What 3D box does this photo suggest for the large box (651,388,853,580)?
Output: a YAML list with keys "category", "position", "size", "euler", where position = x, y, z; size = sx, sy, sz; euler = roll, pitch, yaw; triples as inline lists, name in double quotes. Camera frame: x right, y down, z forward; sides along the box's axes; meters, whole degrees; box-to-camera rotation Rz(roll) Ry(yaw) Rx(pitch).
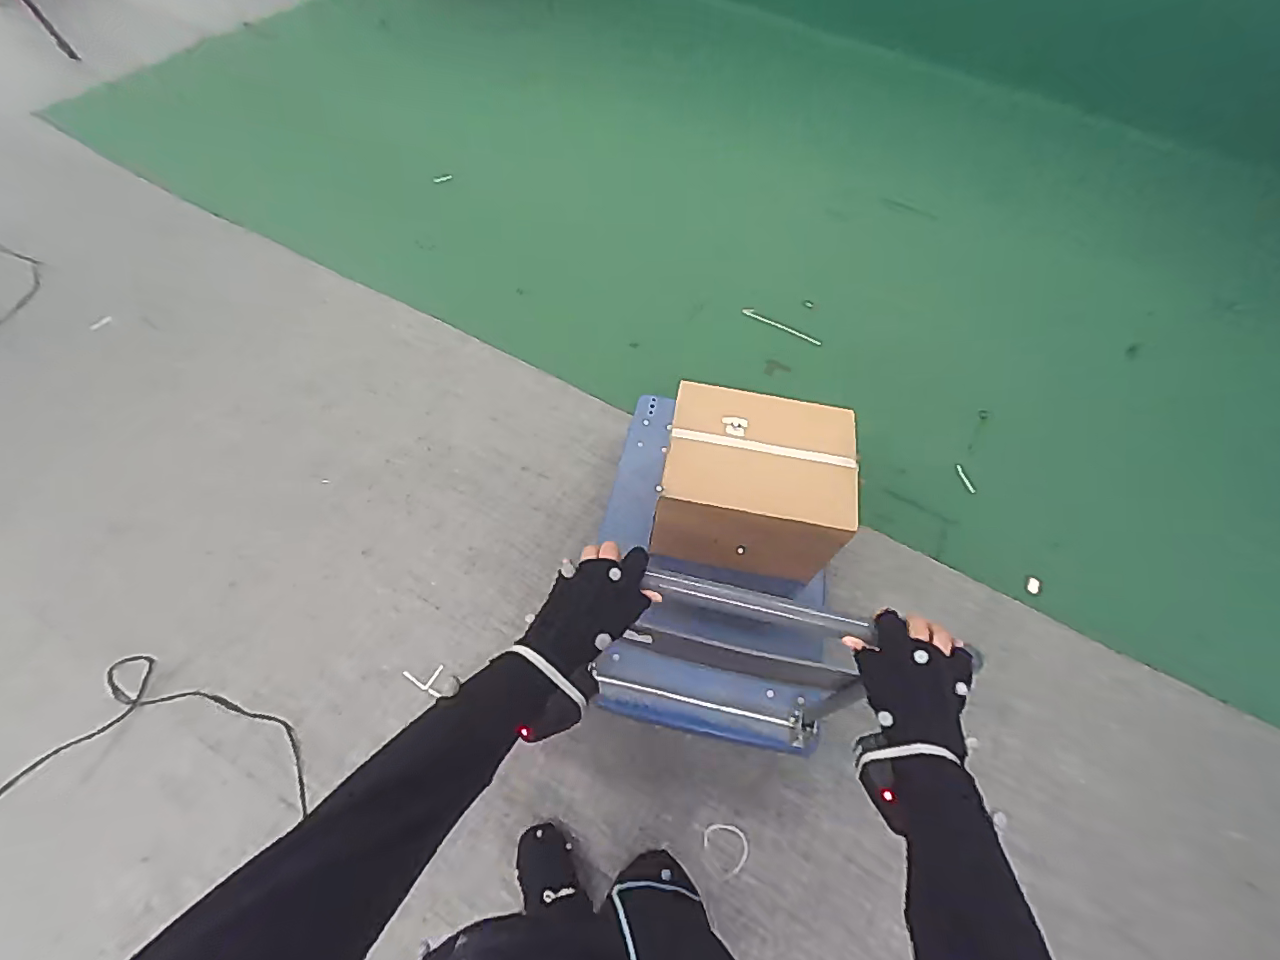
- category: "large box"
  position: [0.254, 0.020, 1.303]
  size: [0.408, 0.320, 0.320]
  euler: [10, 59, 3]
